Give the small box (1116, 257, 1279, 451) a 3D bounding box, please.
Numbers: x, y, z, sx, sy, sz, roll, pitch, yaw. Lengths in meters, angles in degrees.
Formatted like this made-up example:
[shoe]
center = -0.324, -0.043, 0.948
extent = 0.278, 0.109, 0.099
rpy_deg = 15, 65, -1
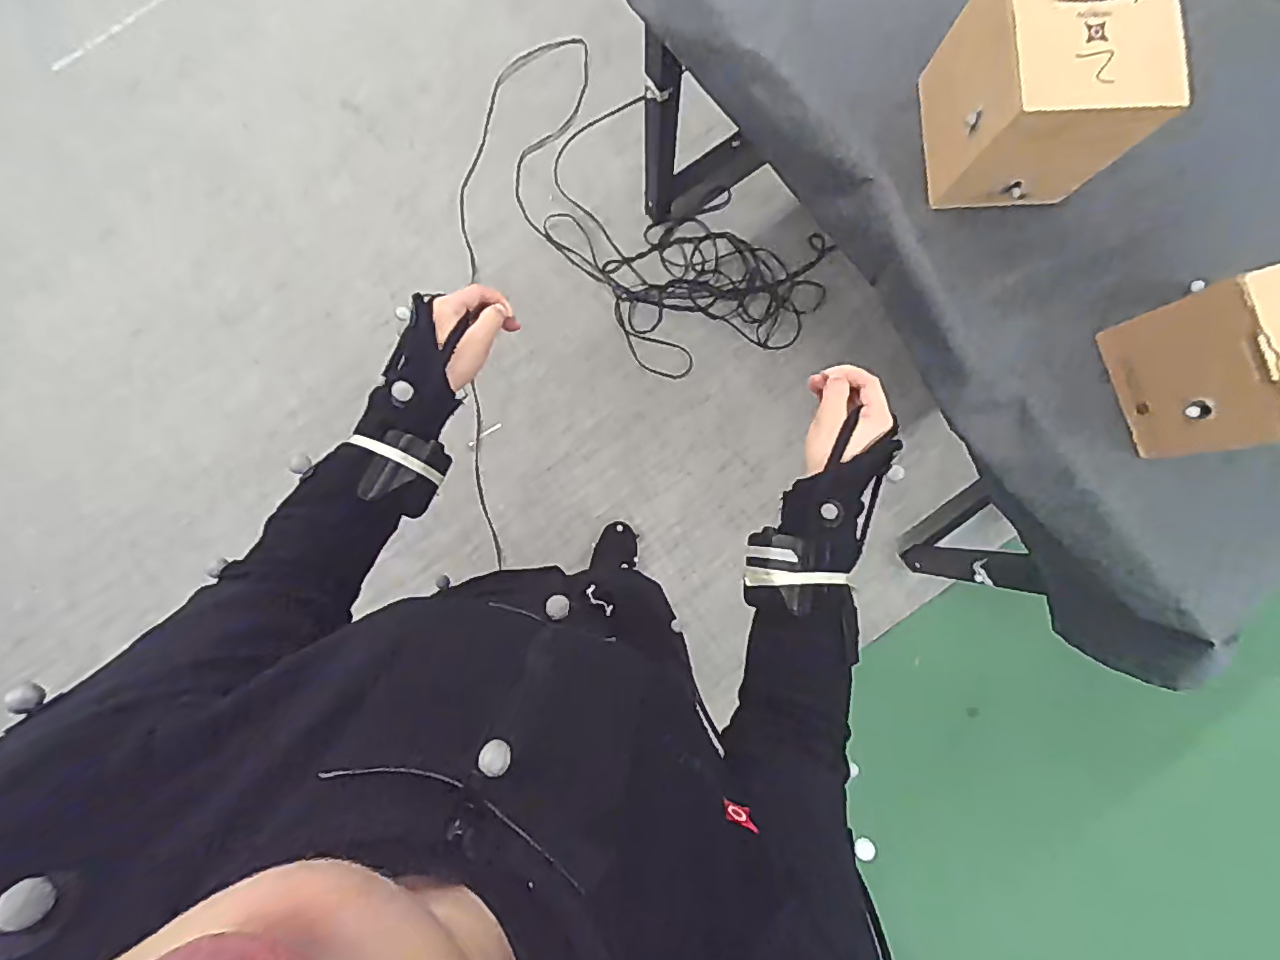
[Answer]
[small box]
center = 0.666, -0.137, 0.576
extent = 0.179, 0.176, 0.168
rpy_deg = -17, 86, -2
